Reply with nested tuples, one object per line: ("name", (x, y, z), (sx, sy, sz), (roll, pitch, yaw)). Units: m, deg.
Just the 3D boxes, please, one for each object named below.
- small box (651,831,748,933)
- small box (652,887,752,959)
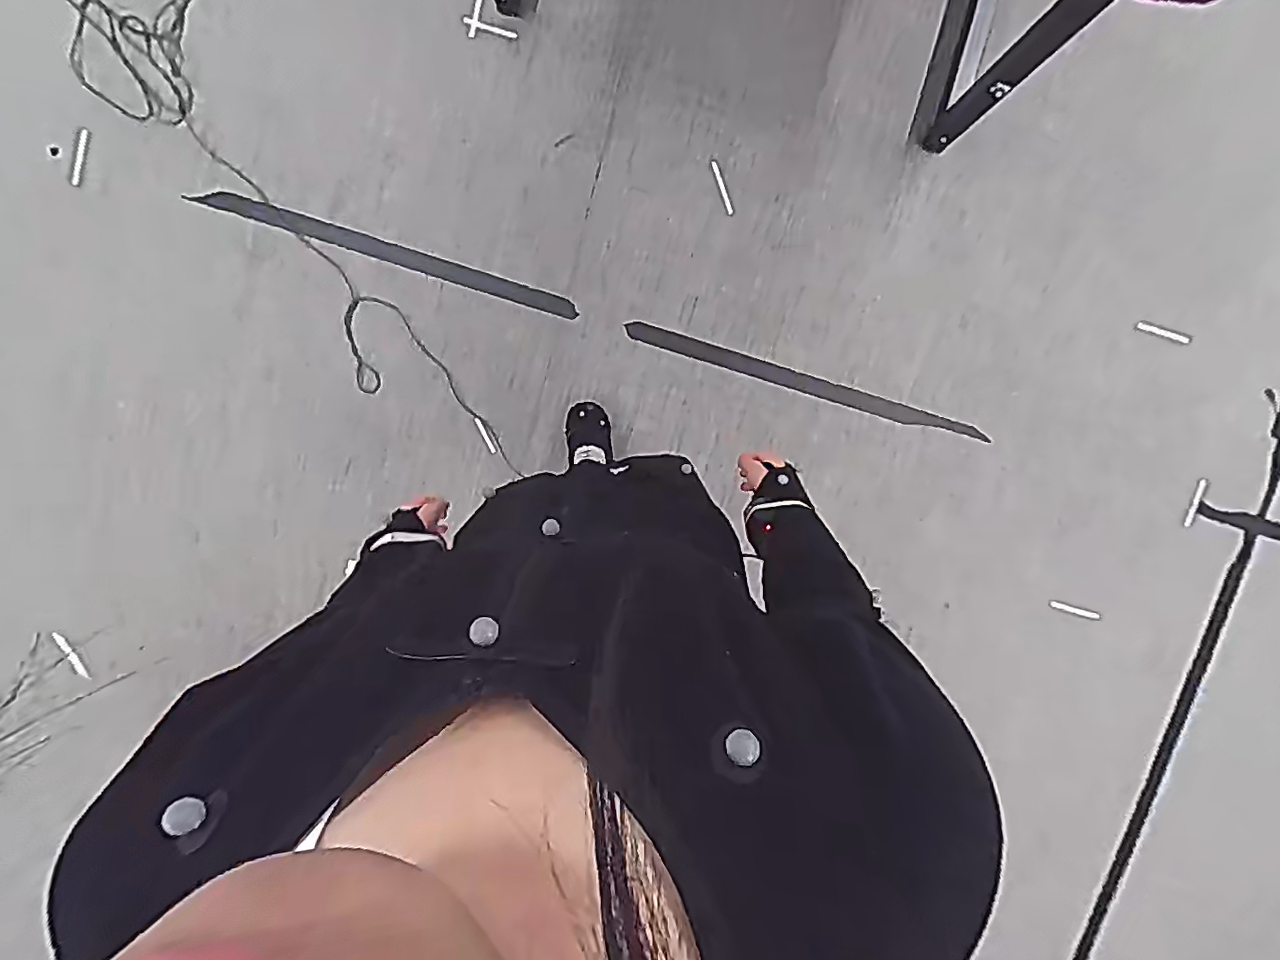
("small box", (0.136, 1.007, 1.327), (0.168, 0.176, 0.179), (-32, 97, 4))
("small box", (0.134, 1.028, 1.163), (0.168, 0.176, 0.179), (-32, 96, 4))
